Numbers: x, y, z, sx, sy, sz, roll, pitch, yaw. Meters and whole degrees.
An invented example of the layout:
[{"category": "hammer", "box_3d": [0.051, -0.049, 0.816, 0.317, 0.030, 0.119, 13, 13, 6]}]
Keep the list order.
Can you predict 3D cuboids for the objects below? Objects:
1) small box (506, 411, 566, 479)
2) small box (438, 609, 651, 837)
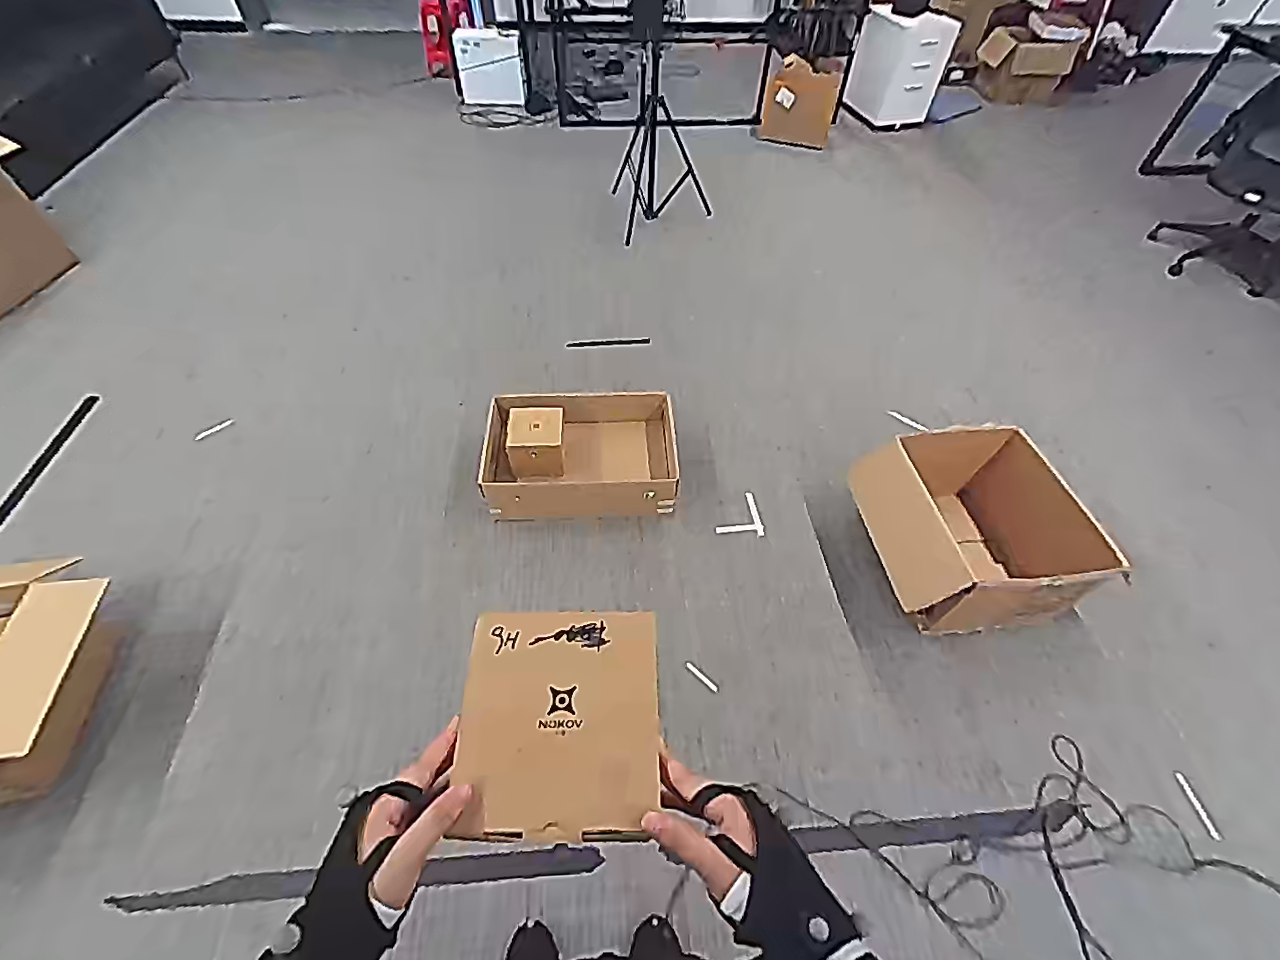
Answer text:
[{"category": "small box", "box_3d": [-0.346, -0.114, 1.818, 0.179, 0.176, 0.168, -1, 54, -5]}, {"category": "small box", "box_3d": [-0.073, 0.237, 0.520, 0.168, 0.176, 0.179, 1, 56, -2]}]
